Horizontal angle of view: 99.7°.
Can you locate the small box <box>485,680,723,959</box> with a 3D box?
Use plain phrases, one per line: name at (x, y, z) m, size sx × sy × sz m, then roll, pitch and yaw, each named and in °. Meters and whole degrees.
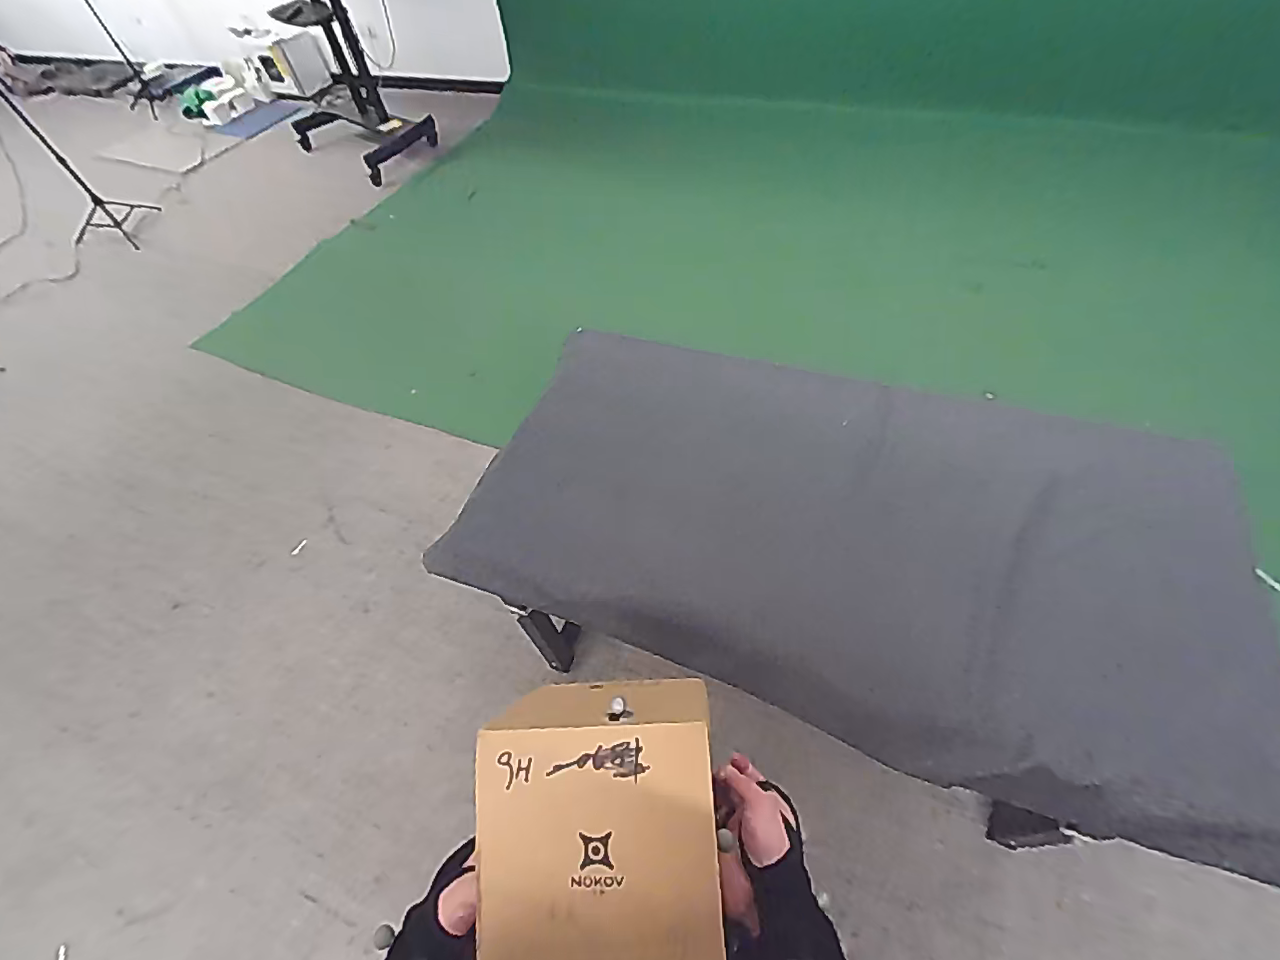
small box at (-0.020, 0.277, 0.452) m, size 0.168 × 0.176 × 0.179 m, roll -4°, pitch 81°, yaw 4°
